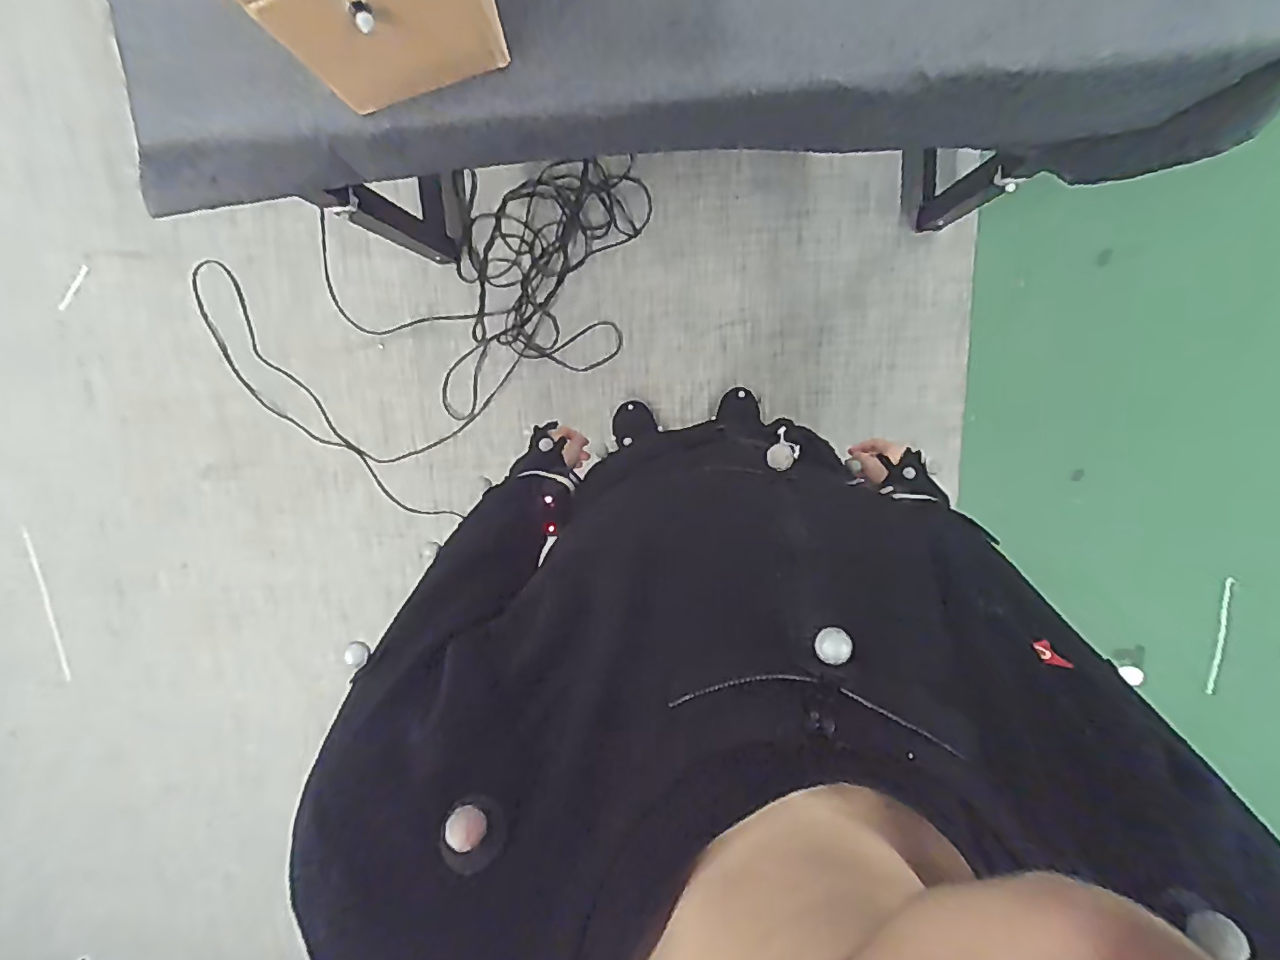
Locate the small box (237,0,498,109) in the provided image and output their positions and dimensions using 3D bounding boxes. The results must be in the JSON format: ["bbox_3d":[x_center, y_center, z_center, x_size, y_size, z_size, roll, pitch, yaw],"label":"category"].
[{"bbox_3d":[-0.240,-0.473,0.476,0.179,0.176,0.168,-14,98,6],"label":"small box"}]
